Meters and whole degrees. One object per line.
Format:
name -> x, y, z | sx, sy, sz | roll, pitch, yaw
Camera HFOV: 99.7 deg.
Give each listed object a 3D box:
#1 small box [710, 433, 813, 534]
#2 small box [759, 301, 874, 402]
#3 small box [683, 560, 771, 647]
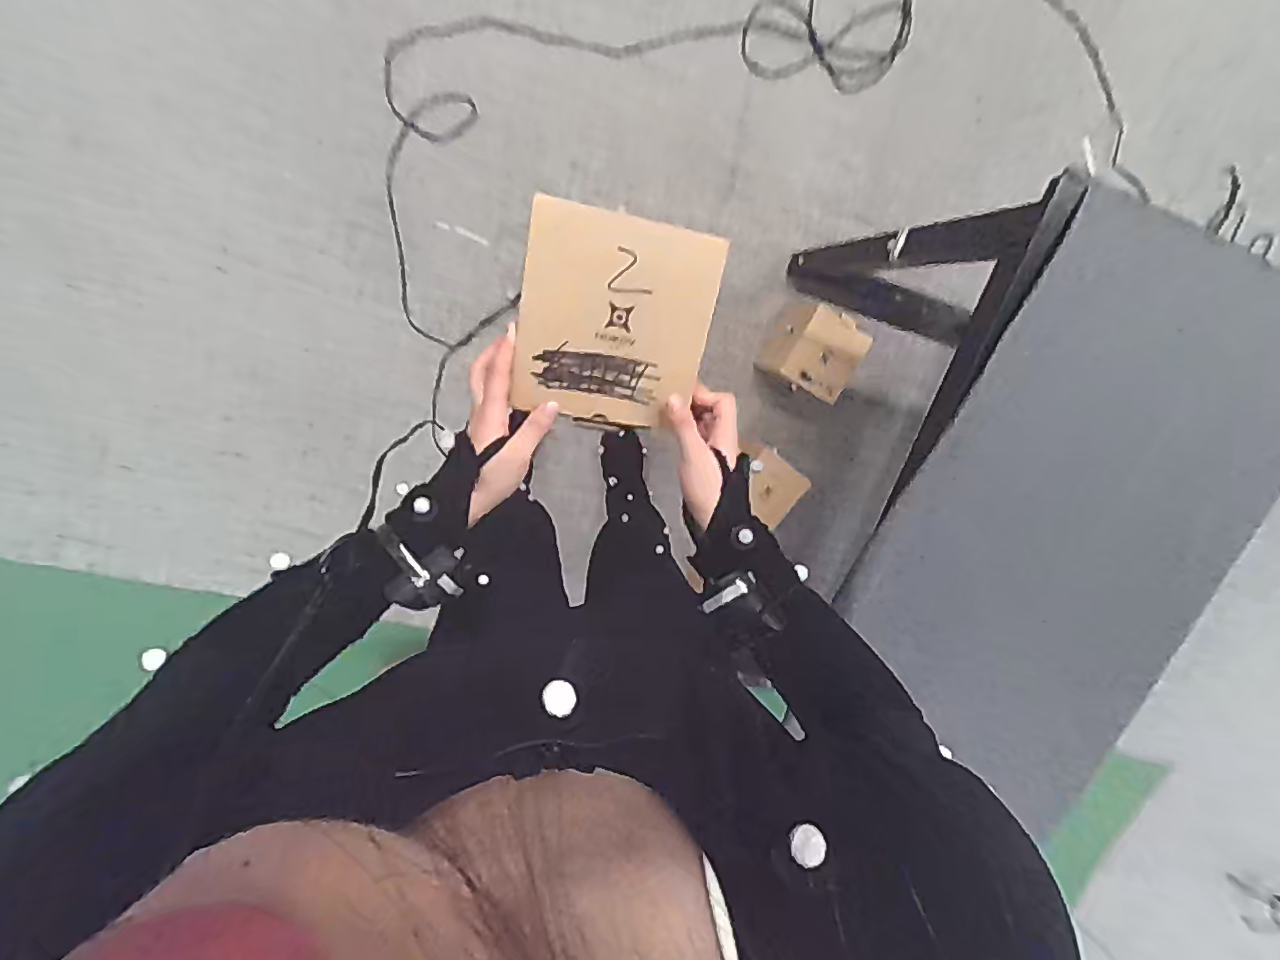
small box -> 0.300, 0.003, 1.394 | 0.168, 0.176, 0.179 | 35, 98, -19
small box -> 0.417, -0.313, 1.312 | 0.168, 0.176, 0.179 | 27, 101, -17
small box -> 0.230, 0.333, 1.486 | 0.179, 0.176, 0.168 | 9, 107, -13
